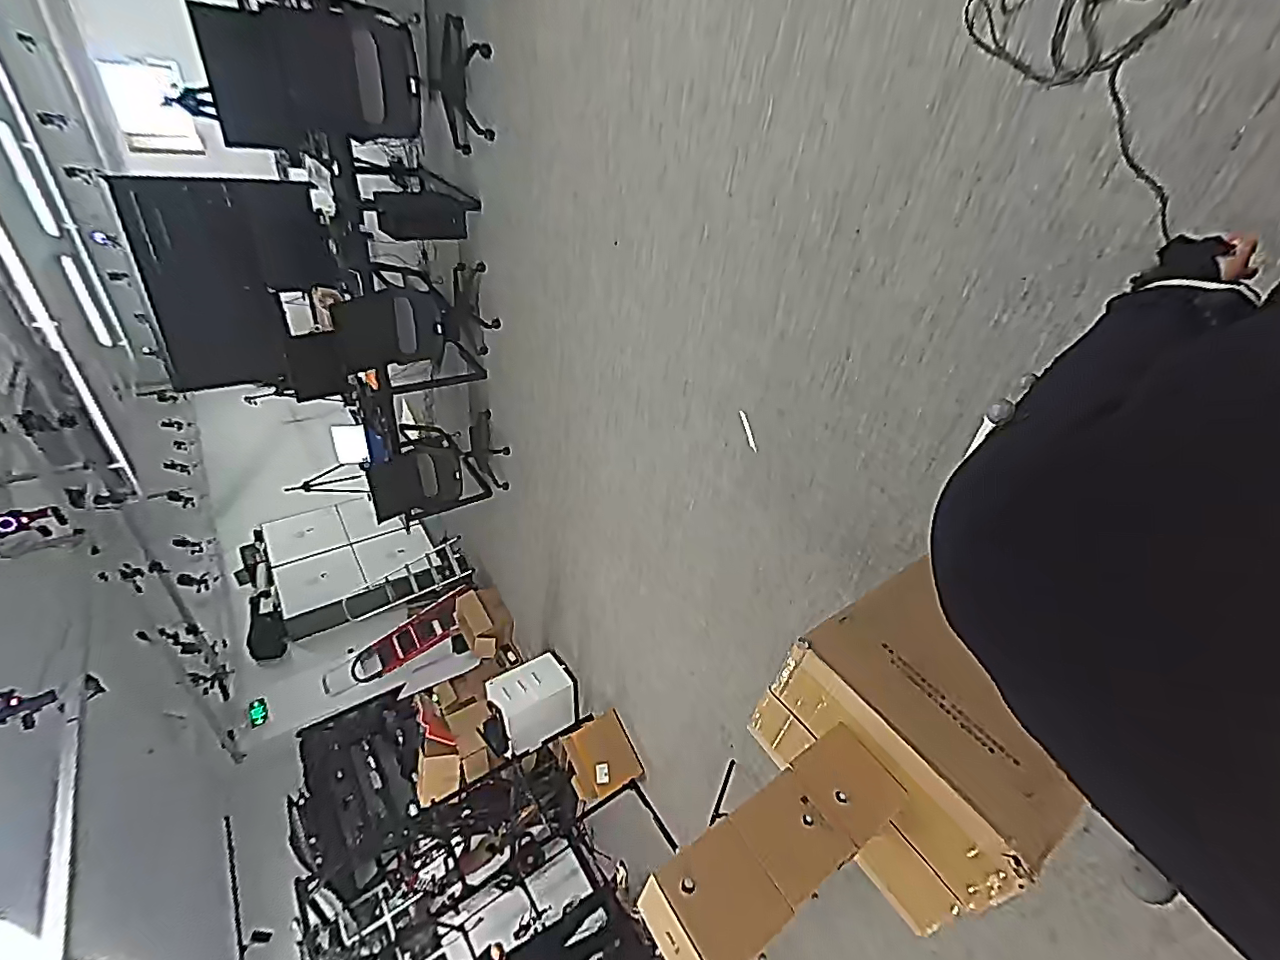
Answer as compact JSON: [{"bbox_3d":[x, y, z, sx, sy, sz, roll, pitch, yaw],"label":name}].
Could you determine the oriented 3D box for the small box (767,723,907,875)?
[{"bbox_3d":[0.393,0.630,1.083,0.179,0.176,0.168,46,140,37],"label":"small box"}]

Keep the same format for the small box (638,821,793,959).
[{"bbox_3d":[0.123,0.720,0.917,0.179,0.176,0.168,45,139,36],"label":"small box"}]
